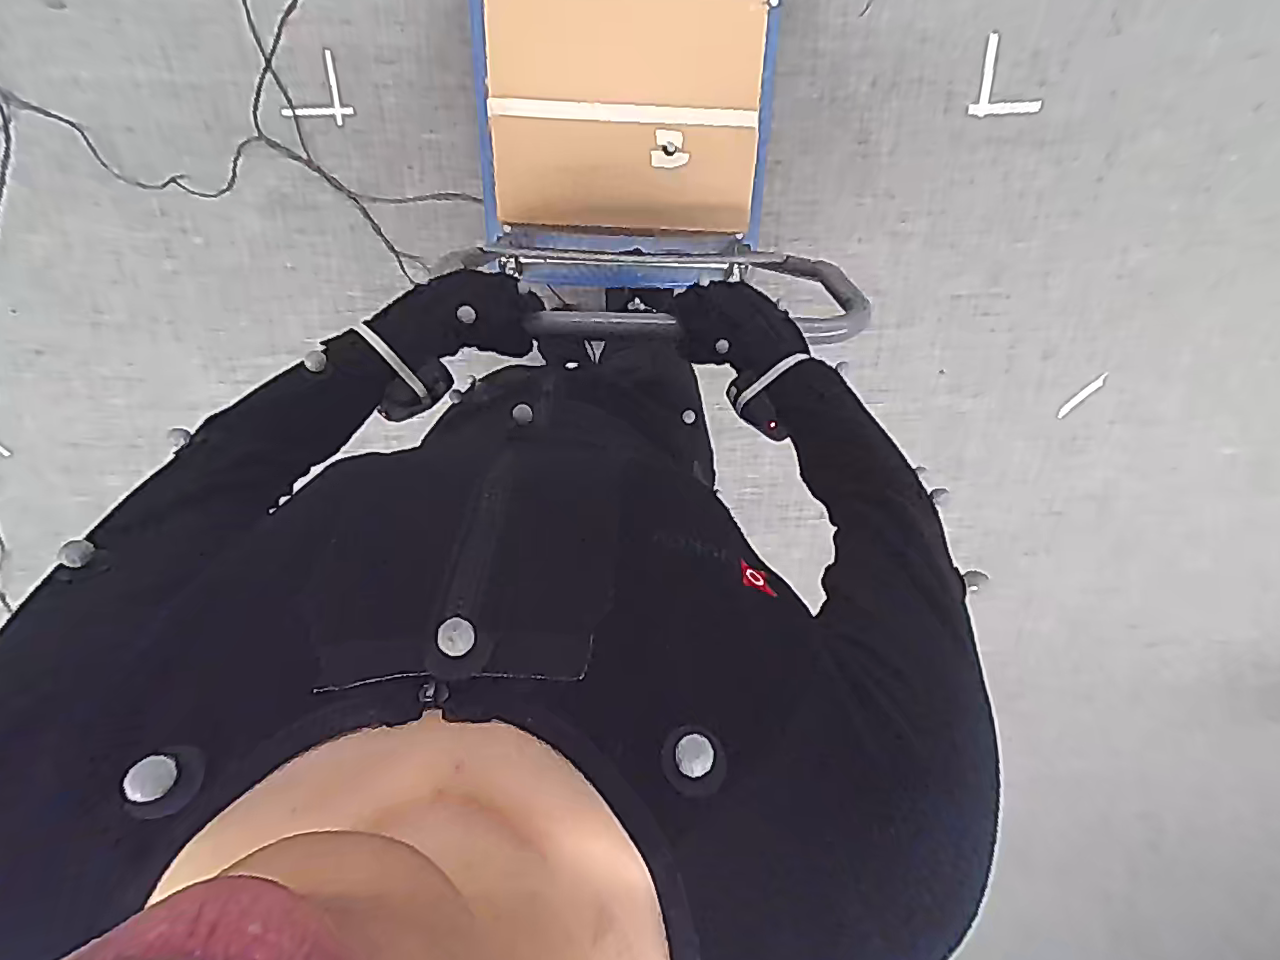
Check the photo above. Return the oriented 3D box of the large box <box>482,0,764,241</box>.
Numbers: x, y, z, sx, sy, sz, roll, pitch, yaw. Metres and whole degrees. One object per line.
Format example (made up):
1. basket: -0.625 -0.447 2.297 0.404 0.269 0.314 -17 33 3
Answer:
1. large box: -0.036 -0.596 0.947 0.408 0.320 0.320 -1 112 -5
